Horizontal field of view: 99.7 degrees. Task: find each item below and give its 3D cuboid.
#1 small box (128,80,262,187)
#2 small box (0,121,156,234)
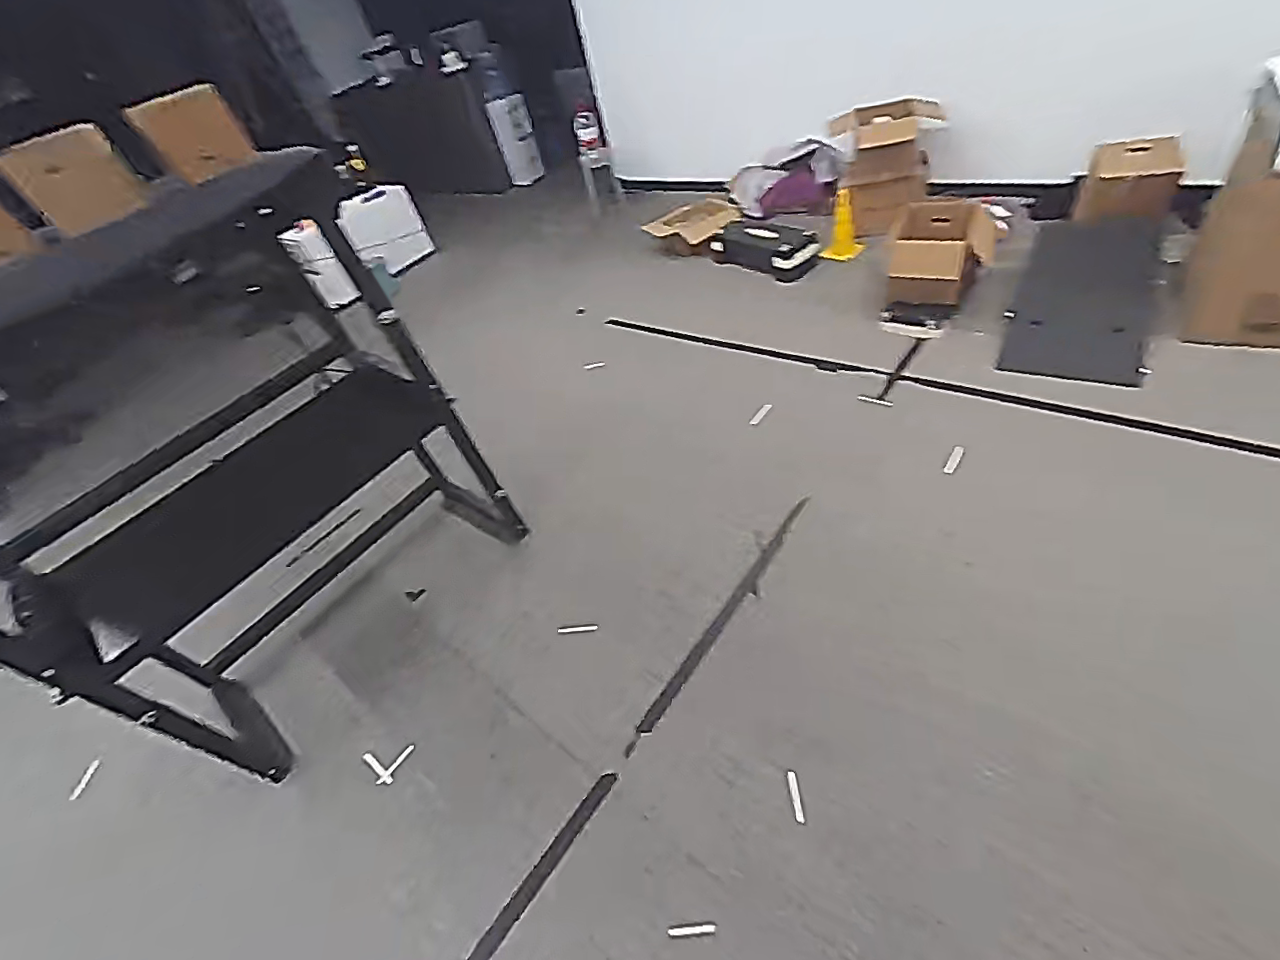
[{"bbox_3d":[-1.043,-0.812,1.274,0.179,0.176,0.168,29,61,37],"label":"small box"},{"bbox_3d":[-1.233,-0.668,1.195,0.179,0.176,0.168,-34,46,-16],"label":"small box"}]
